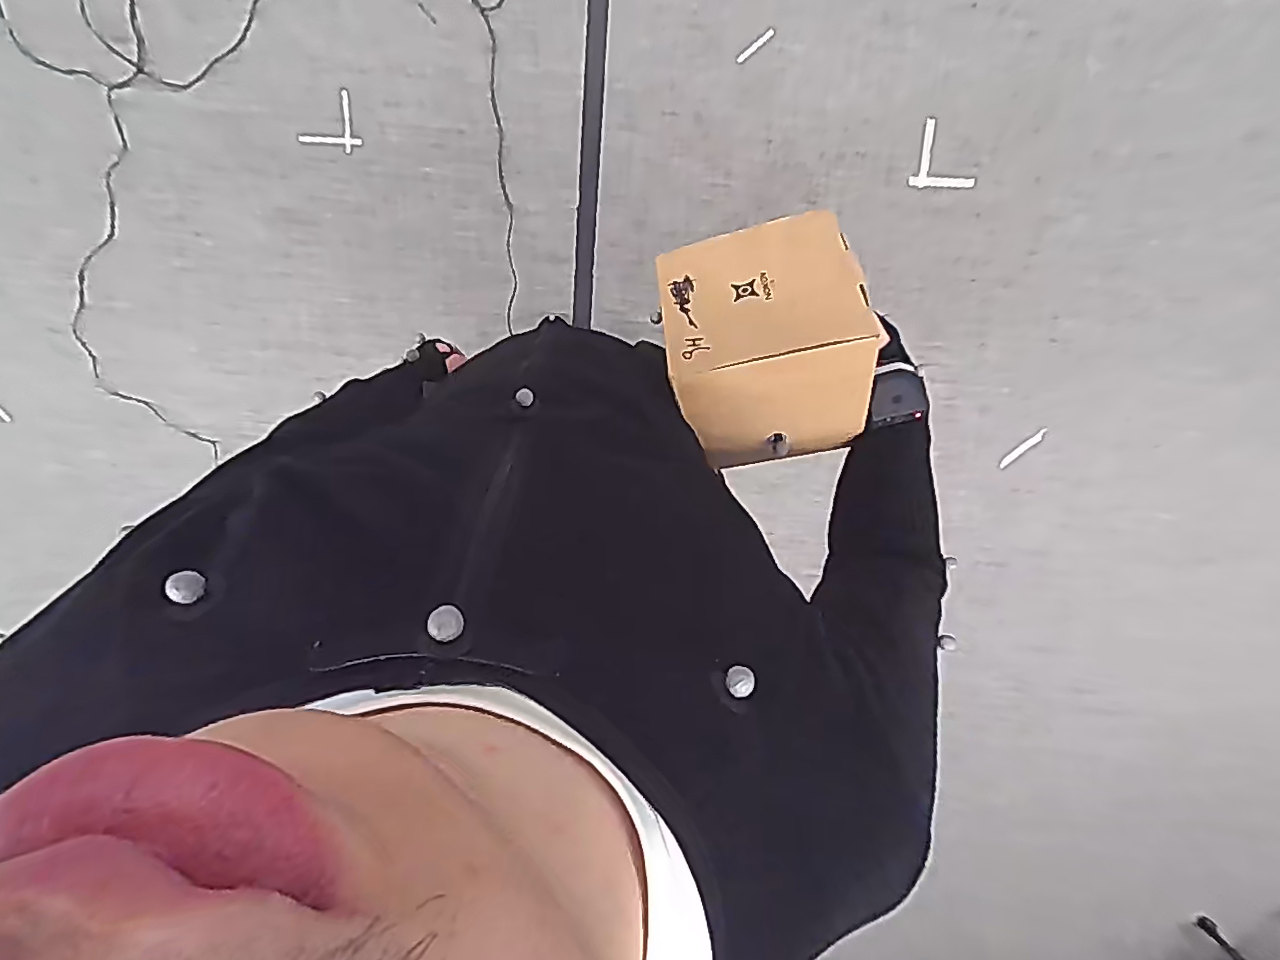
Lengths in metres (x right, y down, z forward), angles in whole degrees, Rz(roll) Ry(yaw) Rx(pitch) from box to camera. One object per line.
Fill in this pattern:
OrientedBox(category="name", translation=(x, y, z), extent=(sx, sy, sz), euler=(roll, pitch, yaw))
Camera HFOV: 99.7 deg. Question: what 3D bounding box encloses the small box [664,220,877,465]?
OrientedBox(category="small box", translation=(0.131, -0.135, 0.576), extent=(0.179, 0.168, 0.176), euler=(-10, 149, 11))
